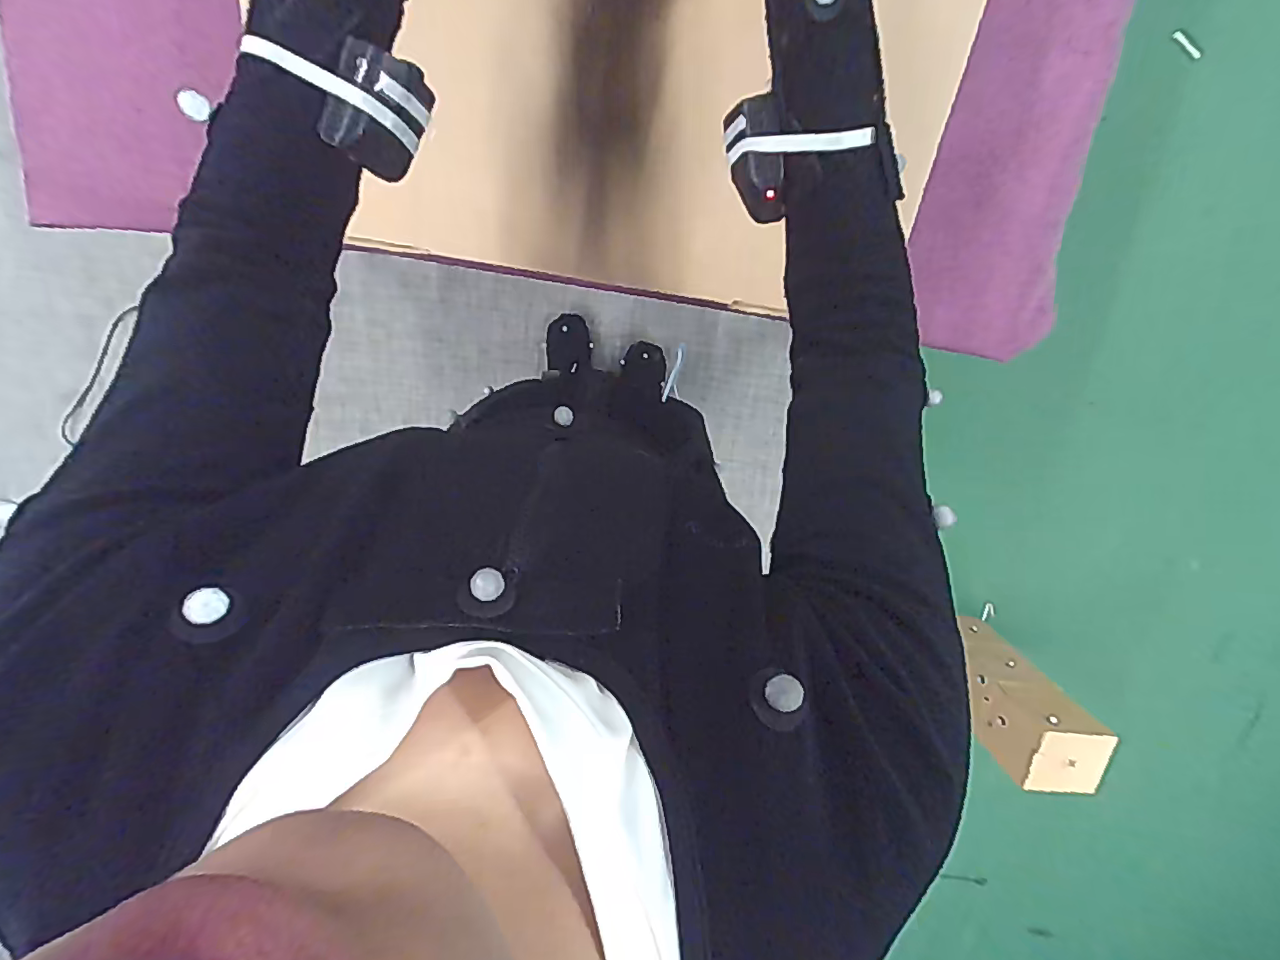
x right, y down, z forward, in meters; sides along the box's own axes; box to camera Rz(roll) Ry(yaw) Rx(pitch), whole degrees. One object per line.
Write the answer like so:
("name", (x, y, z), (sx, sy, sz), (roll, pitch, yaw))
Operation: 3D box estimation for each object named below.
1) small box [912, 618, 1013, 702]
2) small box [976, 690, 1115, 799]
("small box", (0.949, 0.528, 1.608), (0.179, 0.176, 0.168), (8, 107, -5))
("small box", (0.960, 0.628, 1.297), (0.179, 0.176, 0.168), (6, 107, -4))
